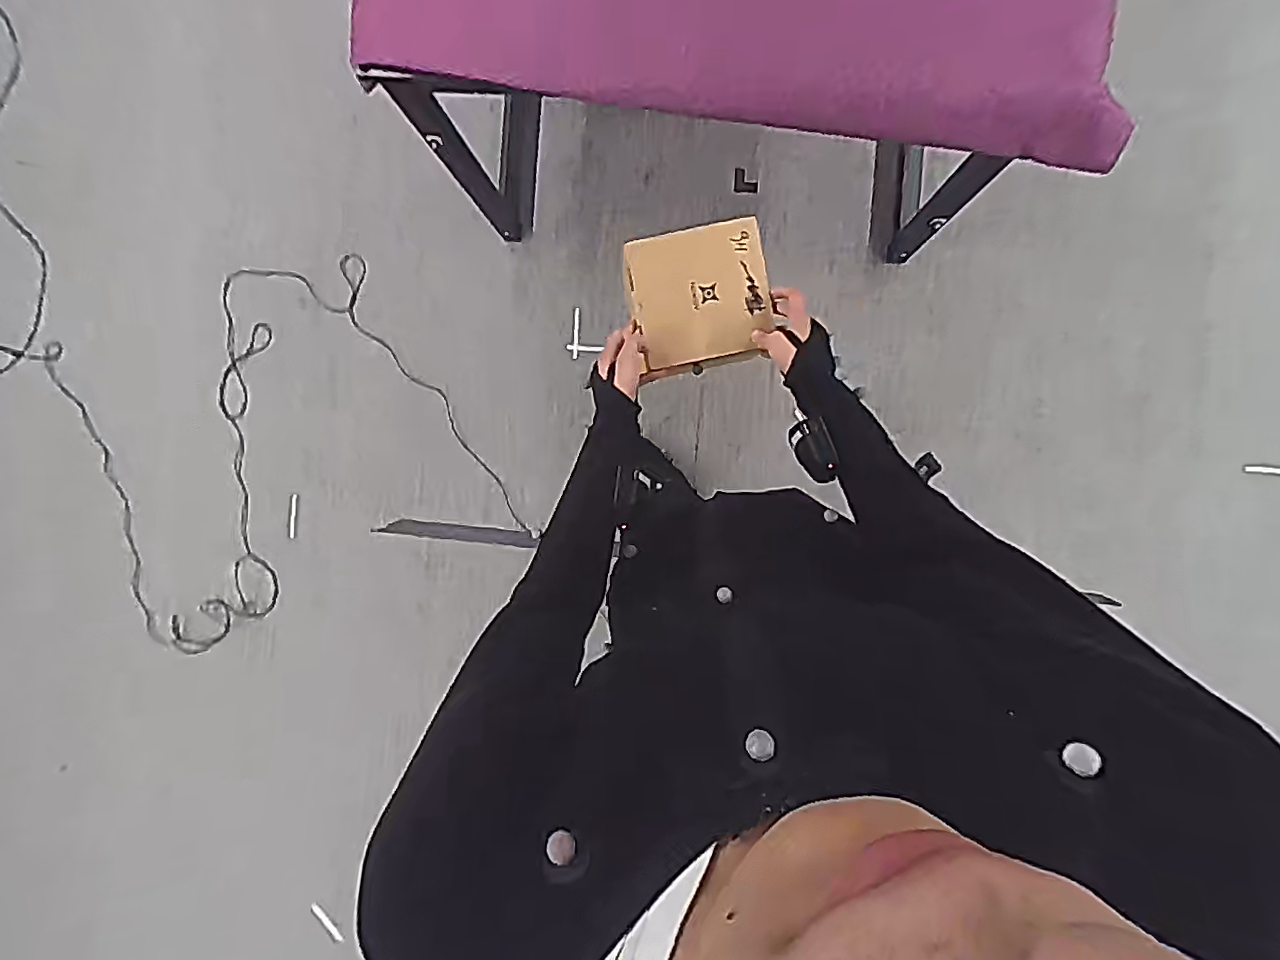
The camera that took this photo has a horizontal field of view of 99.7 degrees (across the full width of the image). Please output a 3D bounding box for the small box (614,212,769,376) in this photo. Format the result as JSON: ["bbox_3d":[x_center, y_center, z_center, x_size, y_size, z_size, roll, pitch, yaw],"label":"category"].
[{"bbox_3d":[0.067,-0.250,0.772,0.179,0.176,0.168,-12,96,0],"label":"small box"}]
